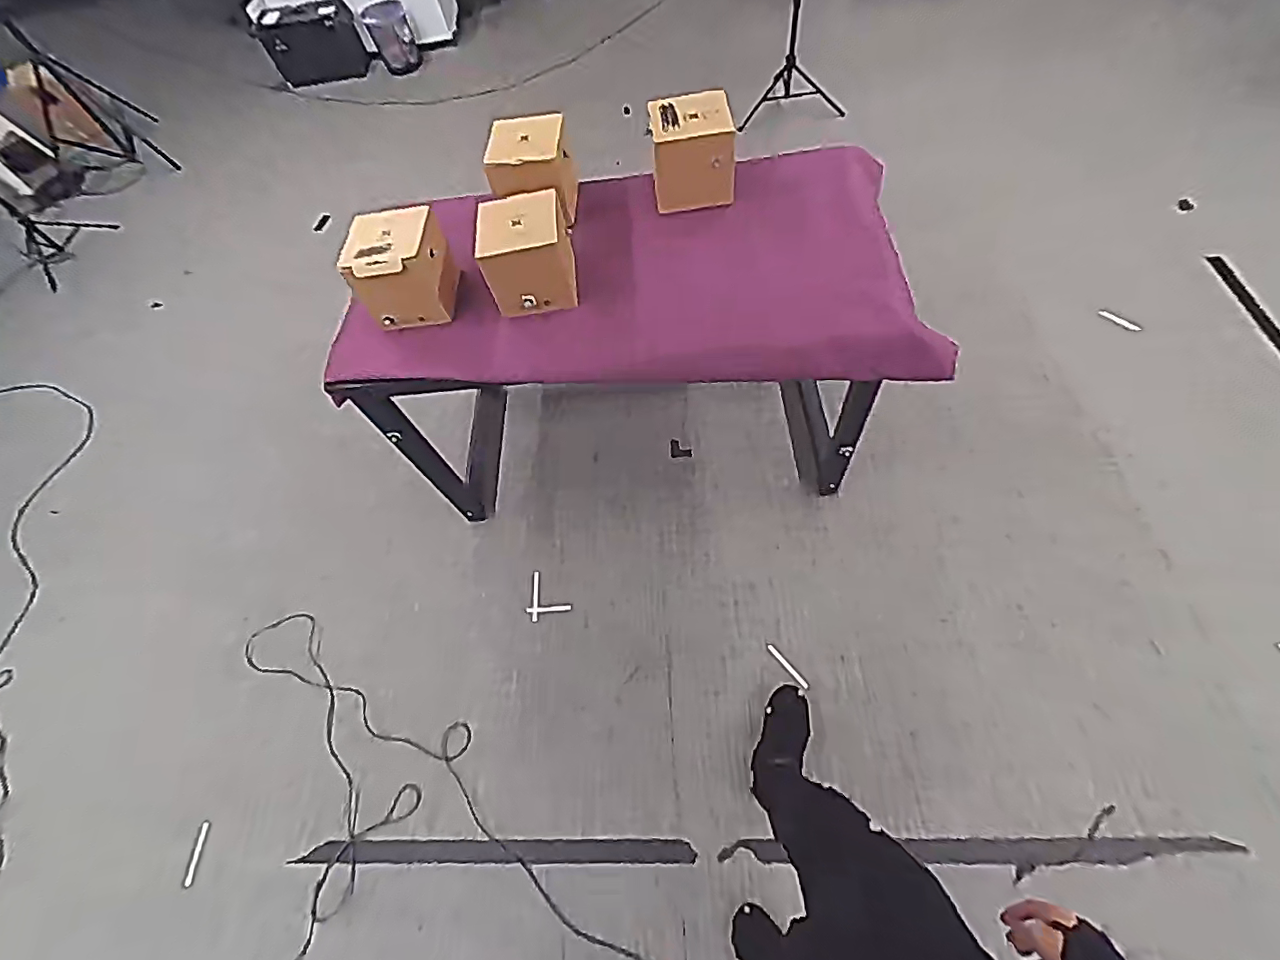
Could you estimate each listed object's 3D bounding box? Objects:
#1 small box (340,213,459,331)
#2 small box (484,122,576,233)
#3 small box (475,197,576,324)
[{"bbox_3d":[-0.509,-0.440,1.173,0.168,0.176,0.179,-6,59,4],"label":"small box"},{"bbox_3d":[-0.251,-0.709,1.284,0.168,0.176,0.179,-2,61,6],"label":"small box"},{"bbox_3d":[-0.236,-0.461,1.148,0.168,0.176,0.179,-9,60,4],"label":"small box"}]
